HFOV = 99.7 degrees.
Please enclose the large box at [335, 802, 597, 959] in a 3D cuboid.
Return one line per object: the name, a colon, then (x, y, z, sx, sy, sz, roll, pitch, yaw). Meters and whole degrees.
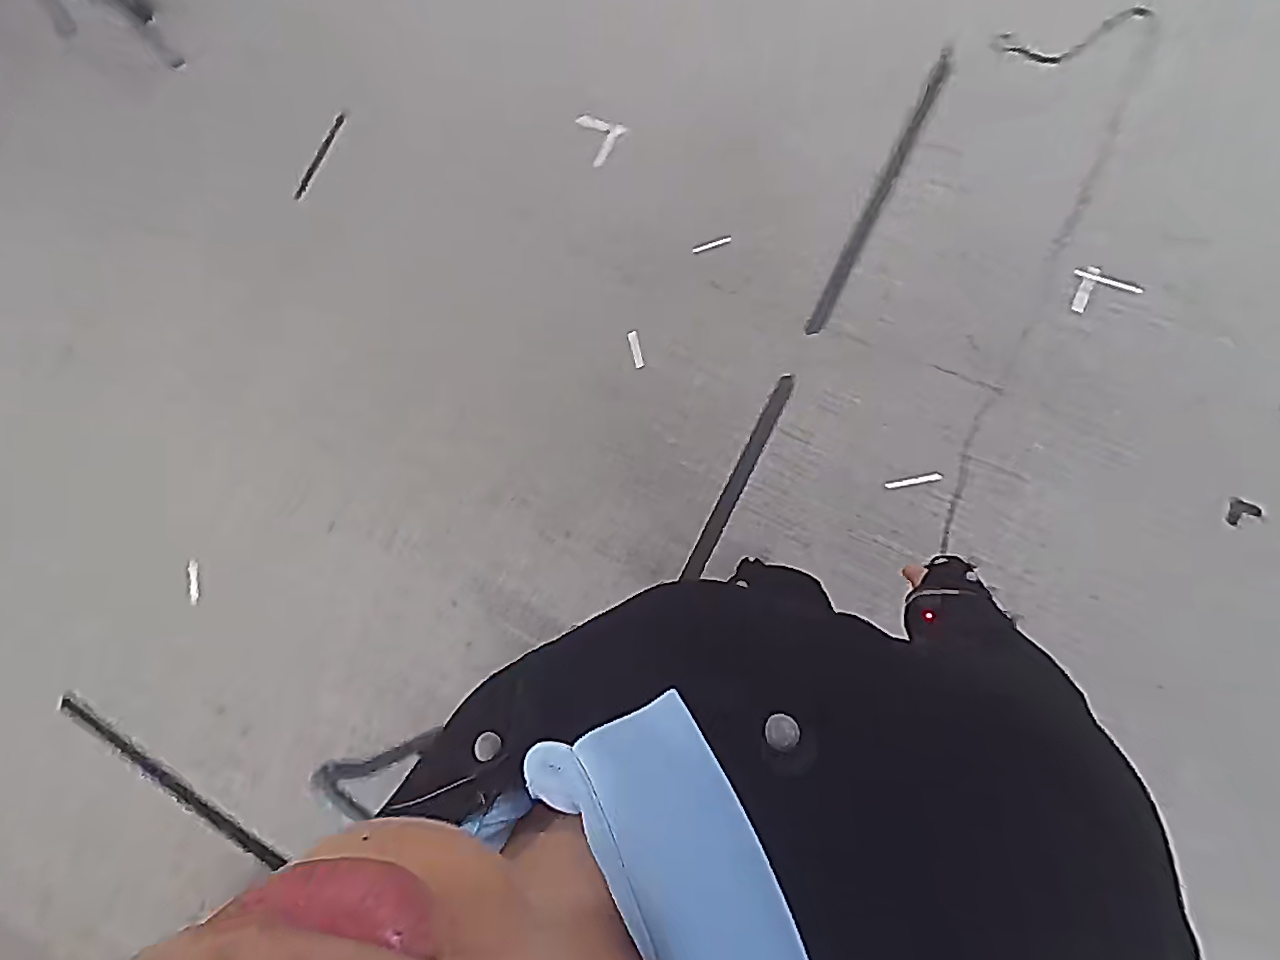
large box: (-0.356, 0.966, 1.110, 0.408, 0.320, 0.320, 29, 86, 11)
